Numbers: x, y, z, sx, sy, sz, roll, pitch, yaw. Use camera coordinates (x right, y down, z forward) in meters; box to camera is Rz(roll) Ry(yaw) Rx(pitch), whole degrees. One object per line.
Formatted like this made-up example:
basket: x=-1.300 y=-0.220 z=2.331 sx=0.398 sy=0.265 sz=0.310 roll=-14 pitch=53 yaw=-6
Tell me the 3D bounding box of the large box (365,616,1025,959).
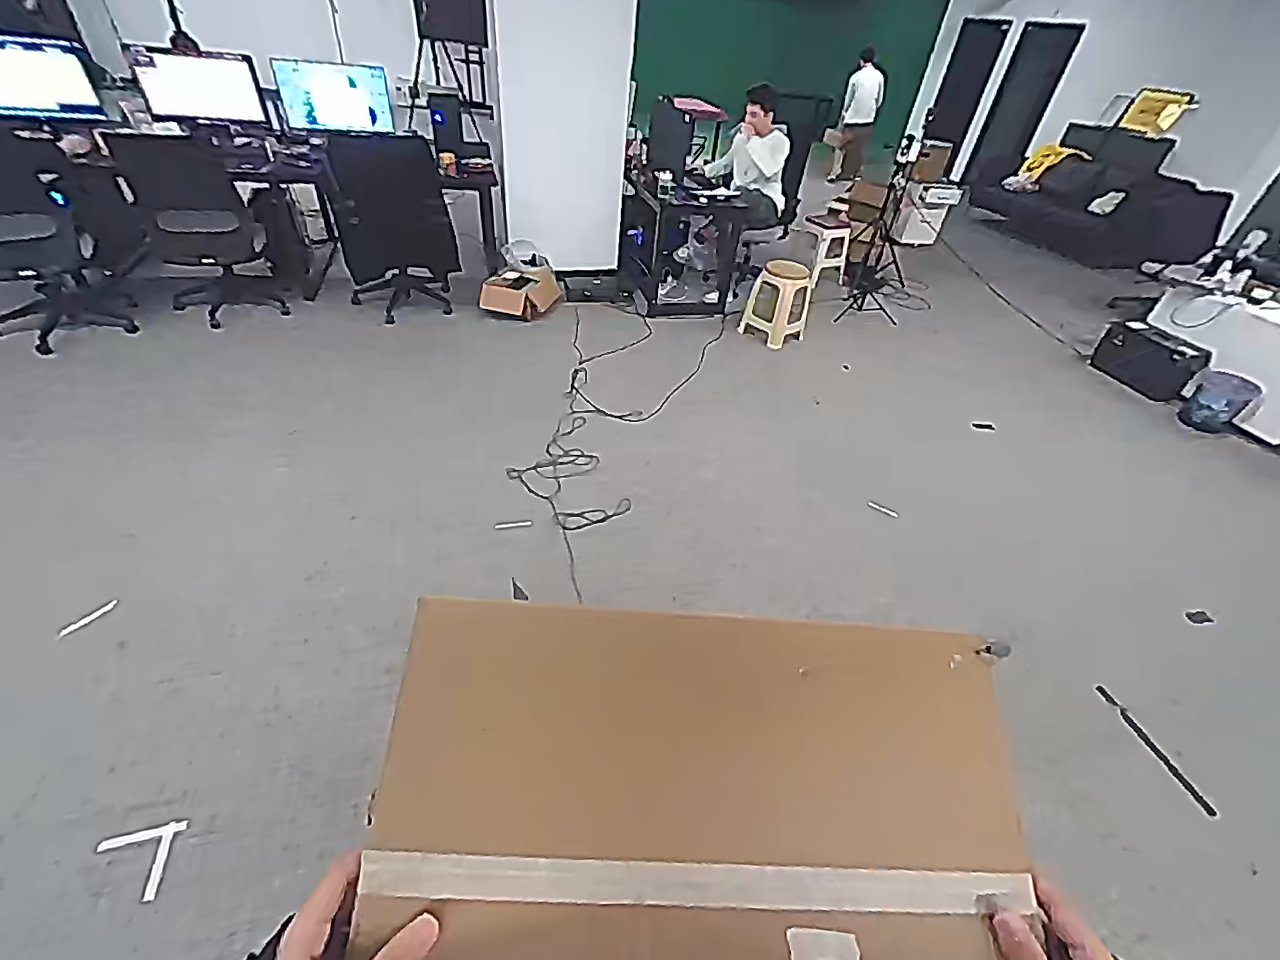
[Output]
large box: x=0.026 y=0.306 z=0.471 sx=0.408 sy=0.320 sz=0.320 roll=5 pitch=68 yaw=-5
